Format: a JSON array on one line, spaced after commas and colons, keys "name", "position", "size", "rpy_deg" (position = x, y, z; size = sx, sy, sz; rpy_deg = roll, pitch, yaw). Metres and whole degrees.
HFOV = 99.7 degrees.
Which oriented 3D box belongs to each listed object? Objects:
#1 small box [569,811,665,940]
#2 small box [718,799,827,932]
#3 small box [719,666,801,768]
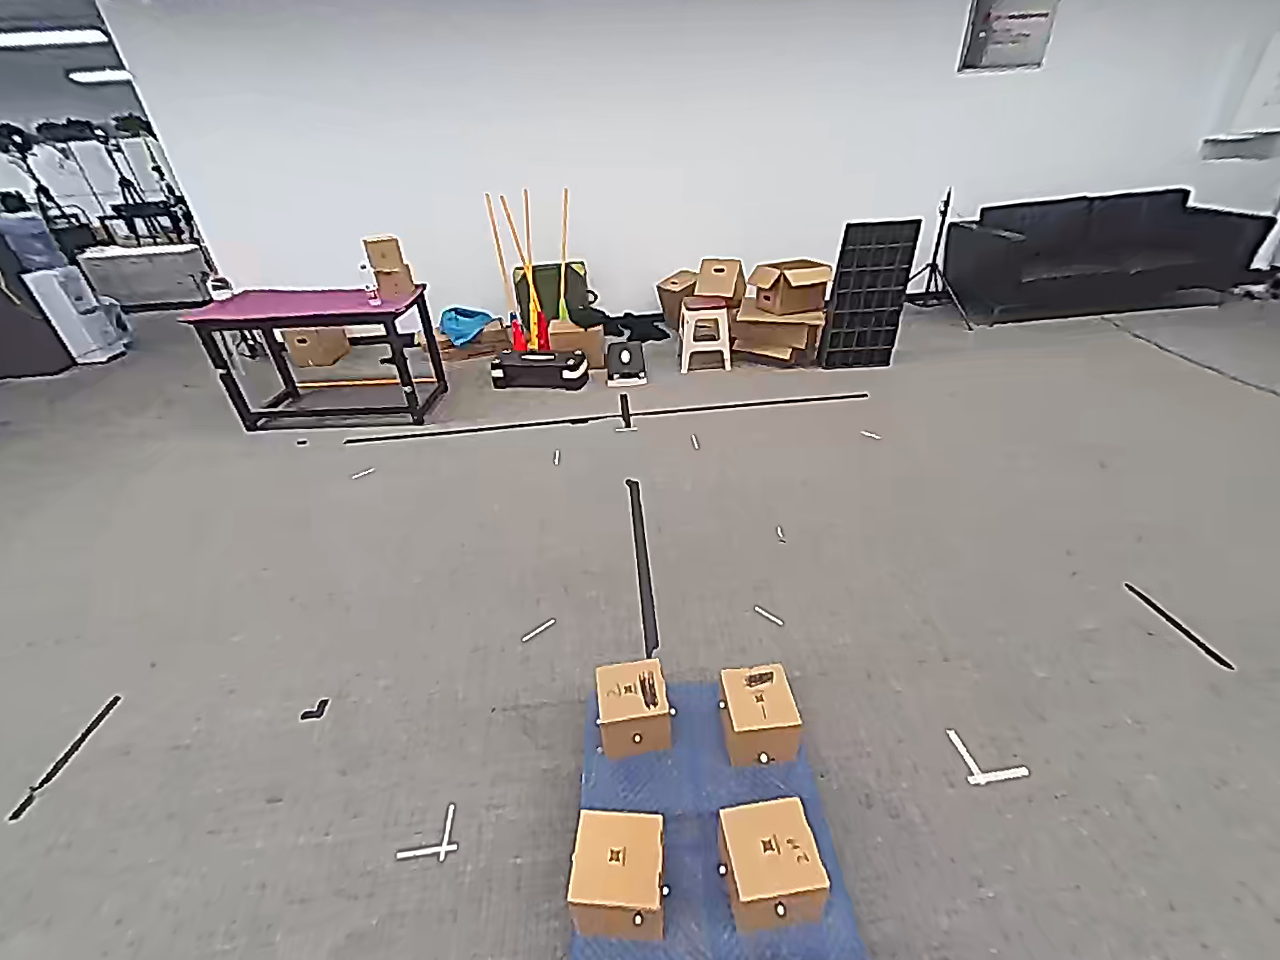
[{"name": "small box", "position": [-0.040, 0.819, 1.120], "size": [0.179, 0.176, 0.168], "rpy_deg": [1, 33, 4]}, {"name": "small box", "position": [0.265, 0.798, 1.120], "size": [0.179, 0.176, 0.168], "rpy_deg": [-6, 33, -4]}, {"name": "small box", "position": [0.302, 0.612, 1.400], "size": [0.168, 0.176, 0.179], "rpy_deg": [-5, 34, -2]}]
